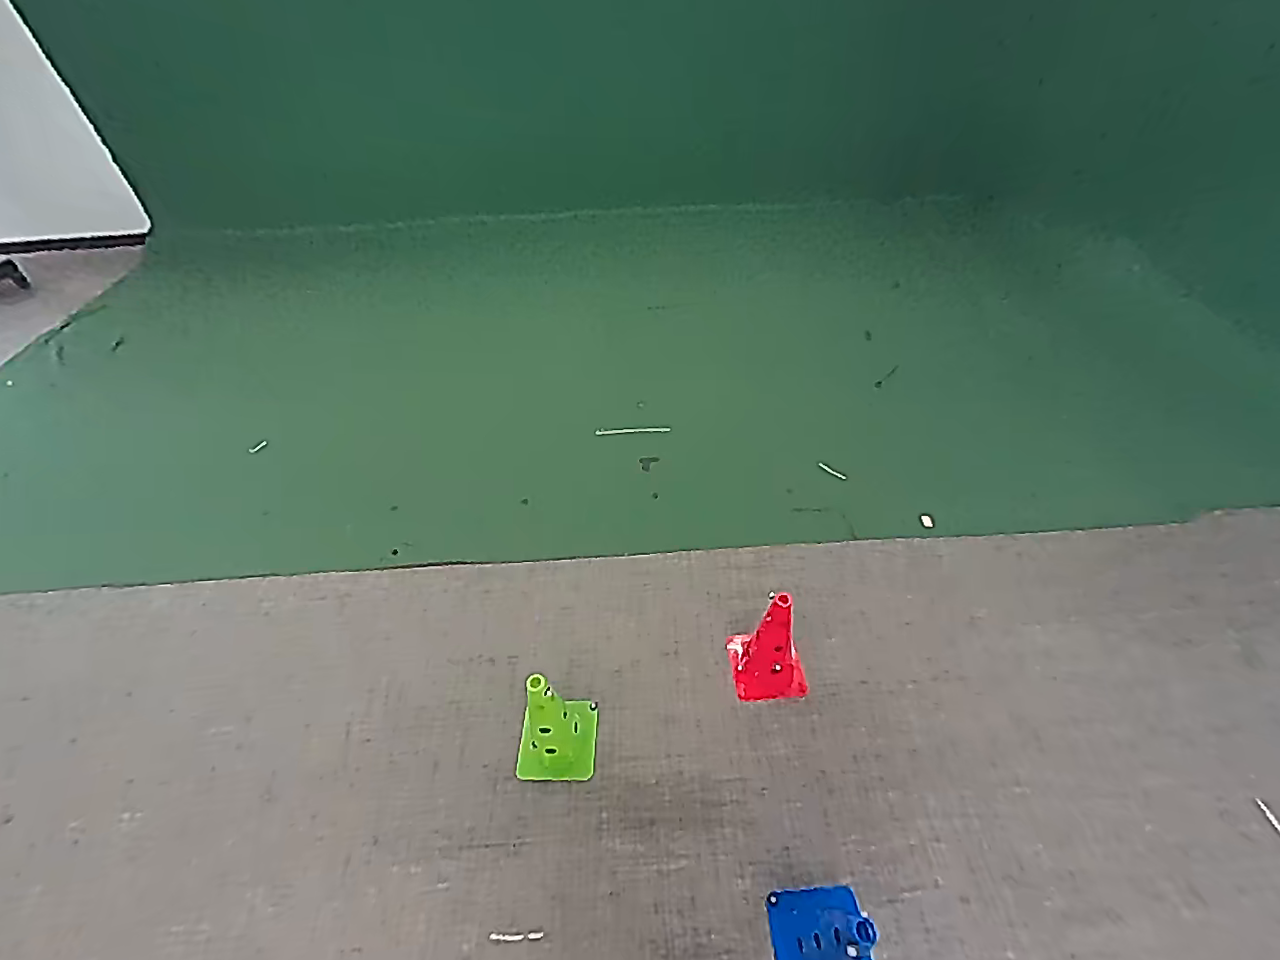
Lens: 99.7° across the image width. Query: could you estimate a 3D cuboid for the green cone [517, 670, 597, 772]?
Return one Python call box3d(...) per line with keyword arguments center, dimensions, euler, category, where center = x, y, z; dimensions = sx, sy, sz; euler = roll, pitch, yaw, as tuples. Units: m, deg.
box3d(center=(-0.226, 0.552, 1.318), dimensions=(0.200, 0.368, 0.202), euler=(-2, 47, 2), category="green cone")
